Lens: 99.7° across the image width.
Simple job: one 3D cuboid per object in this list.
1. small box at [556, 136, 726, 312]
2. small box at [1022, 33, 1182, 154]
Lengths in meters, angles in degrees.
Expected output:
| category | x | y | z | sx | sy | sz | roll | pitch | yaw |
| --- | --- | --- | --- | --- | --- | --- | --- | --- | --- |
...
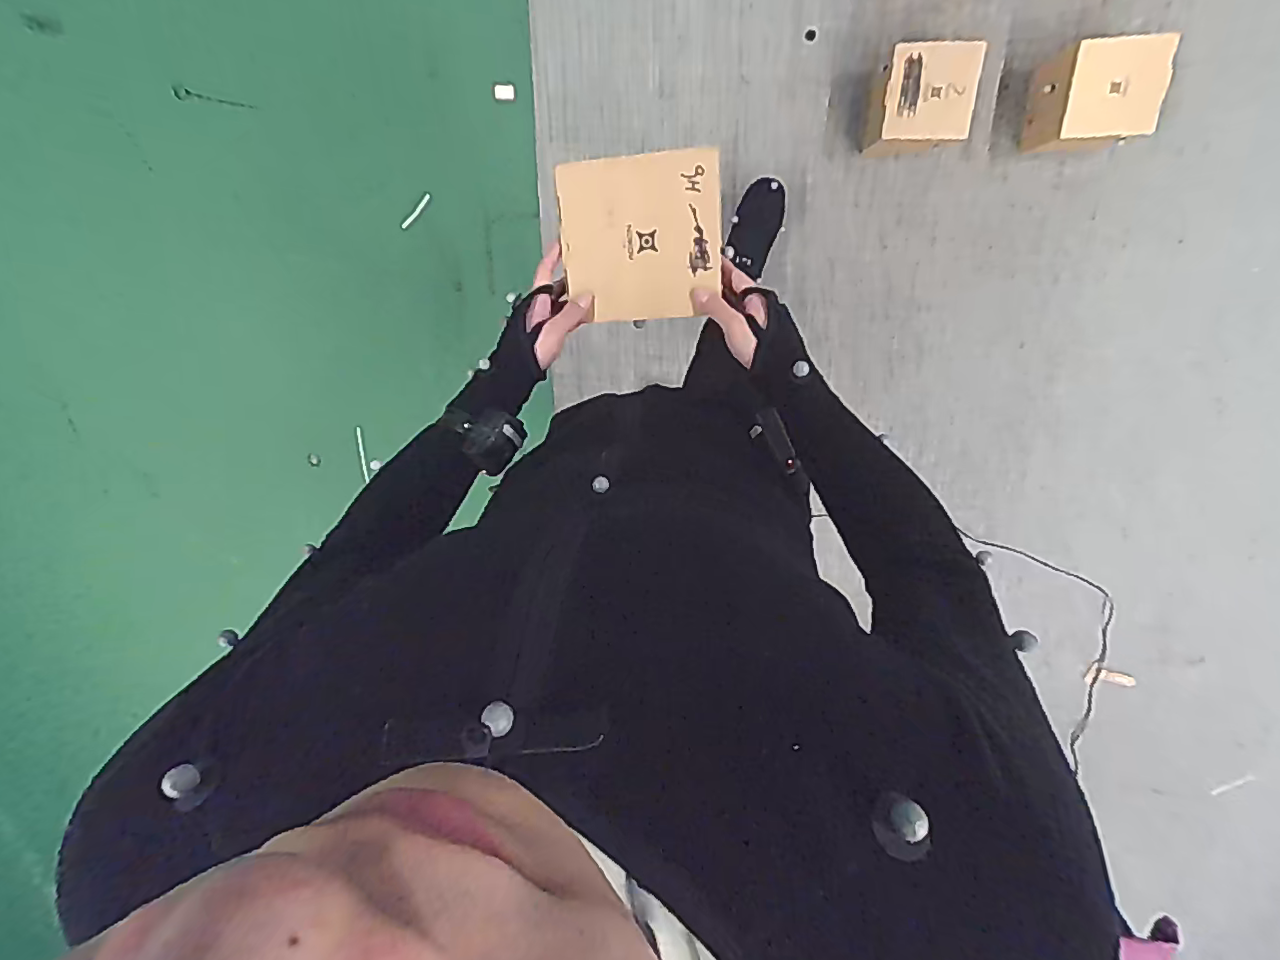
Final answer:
| category | x | y | z | sx | sy | sz | roll | pitch | yaw |
| --- | --- | --- | --- | --- | --- | --- | --- | --- | --- |
| small box | 0.013 | -0.292 | 0.650 | 0.179 | 0.176 | 0.168 | 0 | 110 | 9 |
| small box | 0.936 | -0.787 | 1.118 | 0.179 | 0.176 | 0.168 | 1 | 111 | 6 |
